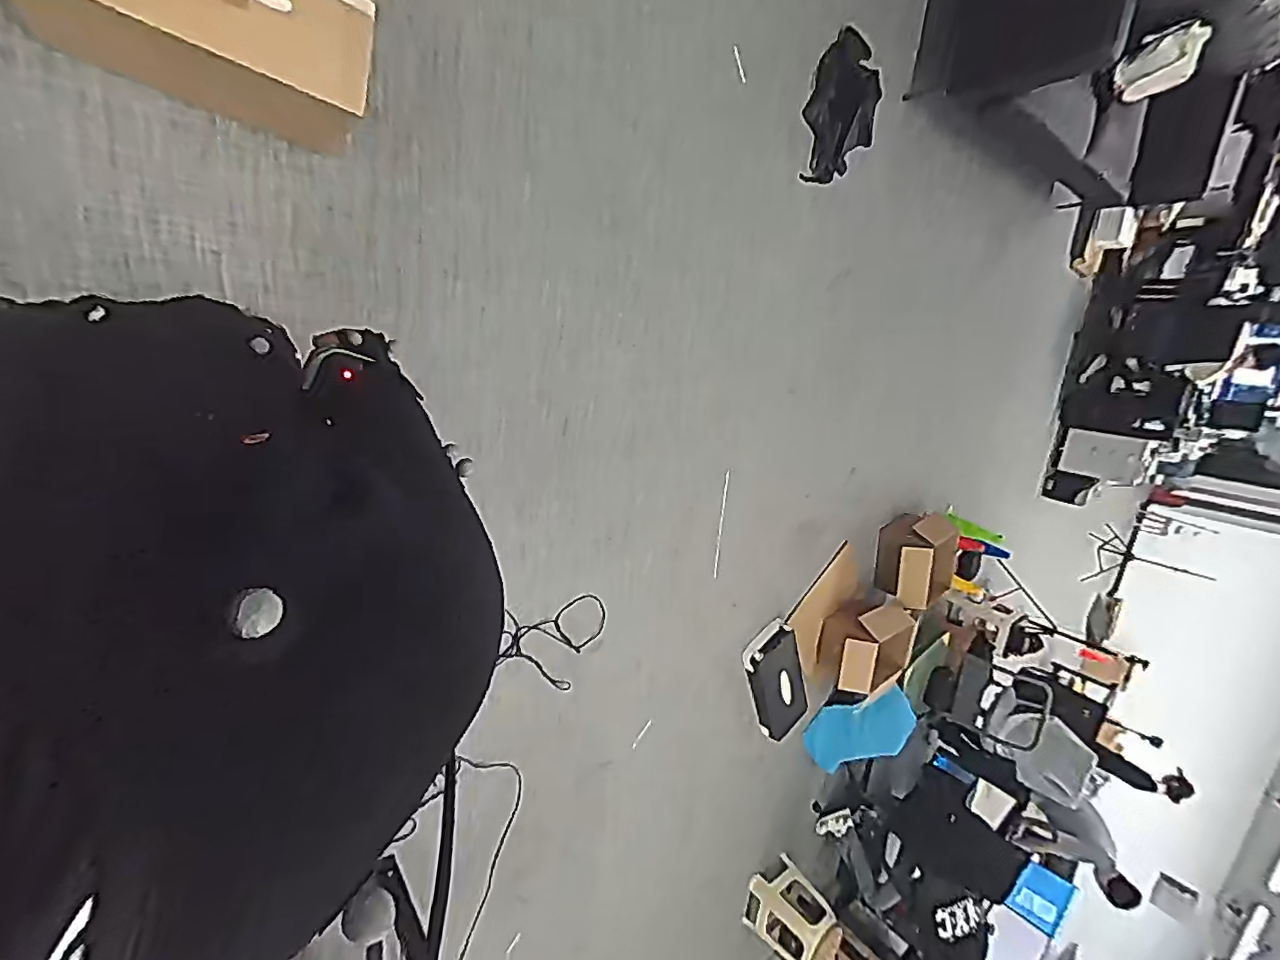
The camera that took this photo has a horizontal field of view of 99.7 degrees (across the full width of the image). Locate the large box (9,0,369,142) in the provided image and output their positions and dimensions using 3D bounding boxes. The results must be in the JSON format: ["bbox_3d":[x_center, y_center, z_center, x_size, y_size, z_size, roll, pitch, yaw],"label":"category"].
[{"bbox_3d":[-0.668,-0.784,0.818,0.408,0.320,0.320,2,105,-43],"label":"large box"}]
